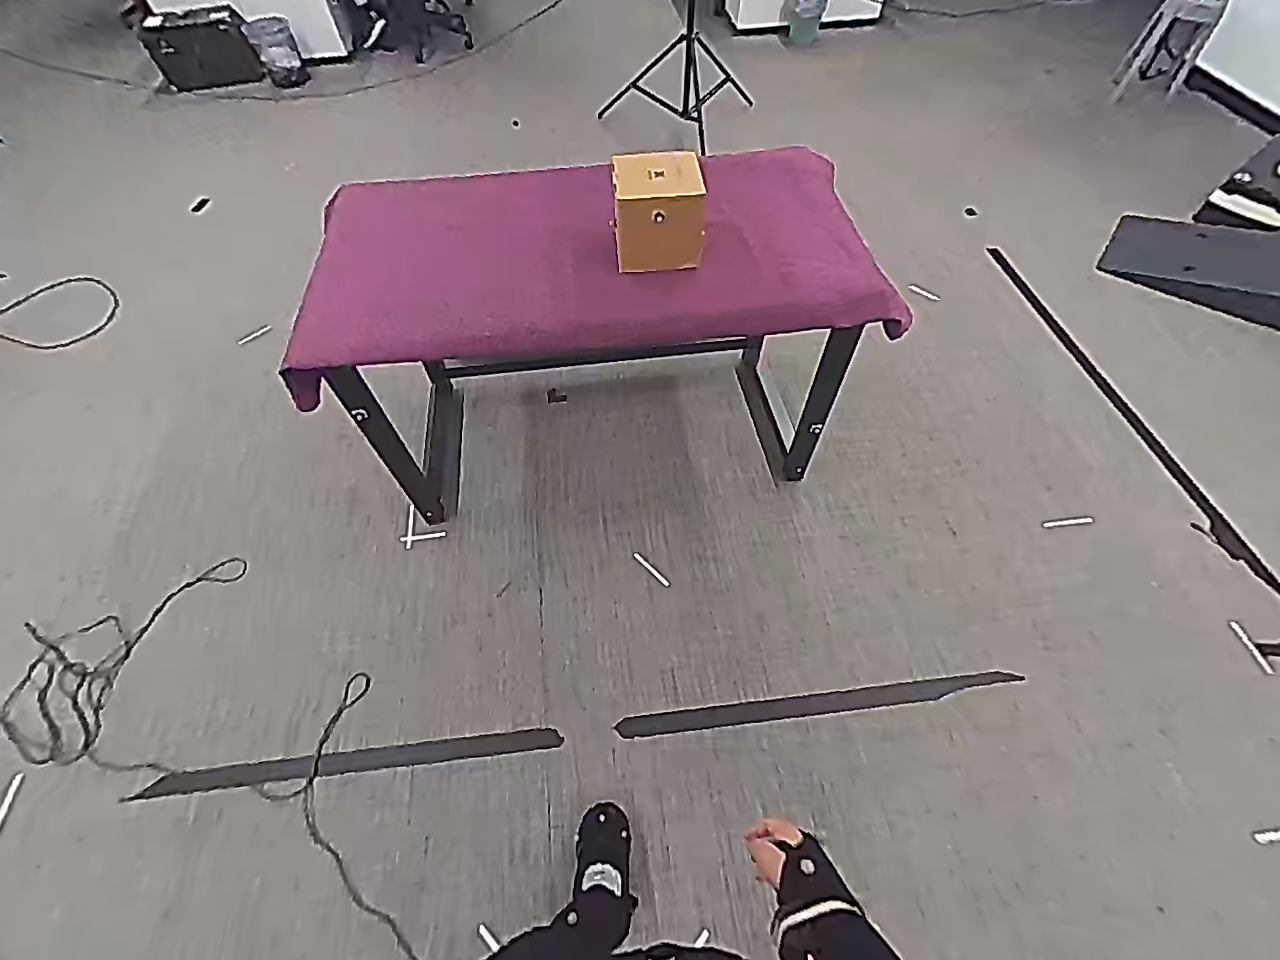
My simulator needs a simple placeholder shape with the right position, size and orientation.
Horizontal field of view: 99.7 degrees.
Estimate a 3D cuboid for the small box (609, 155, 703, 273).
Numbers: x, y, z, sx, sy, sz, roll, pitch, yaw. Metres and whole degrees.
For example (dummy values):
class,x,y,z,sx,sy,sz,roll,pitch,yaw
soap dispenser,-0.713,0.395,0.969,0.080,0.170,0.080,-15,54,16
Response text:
class,x,y,z,sx,sy,sz,roll,pitch,yaw
small box,0.031,-0.558,1.147,0.179,0.176,0.168,-5,57,-3
